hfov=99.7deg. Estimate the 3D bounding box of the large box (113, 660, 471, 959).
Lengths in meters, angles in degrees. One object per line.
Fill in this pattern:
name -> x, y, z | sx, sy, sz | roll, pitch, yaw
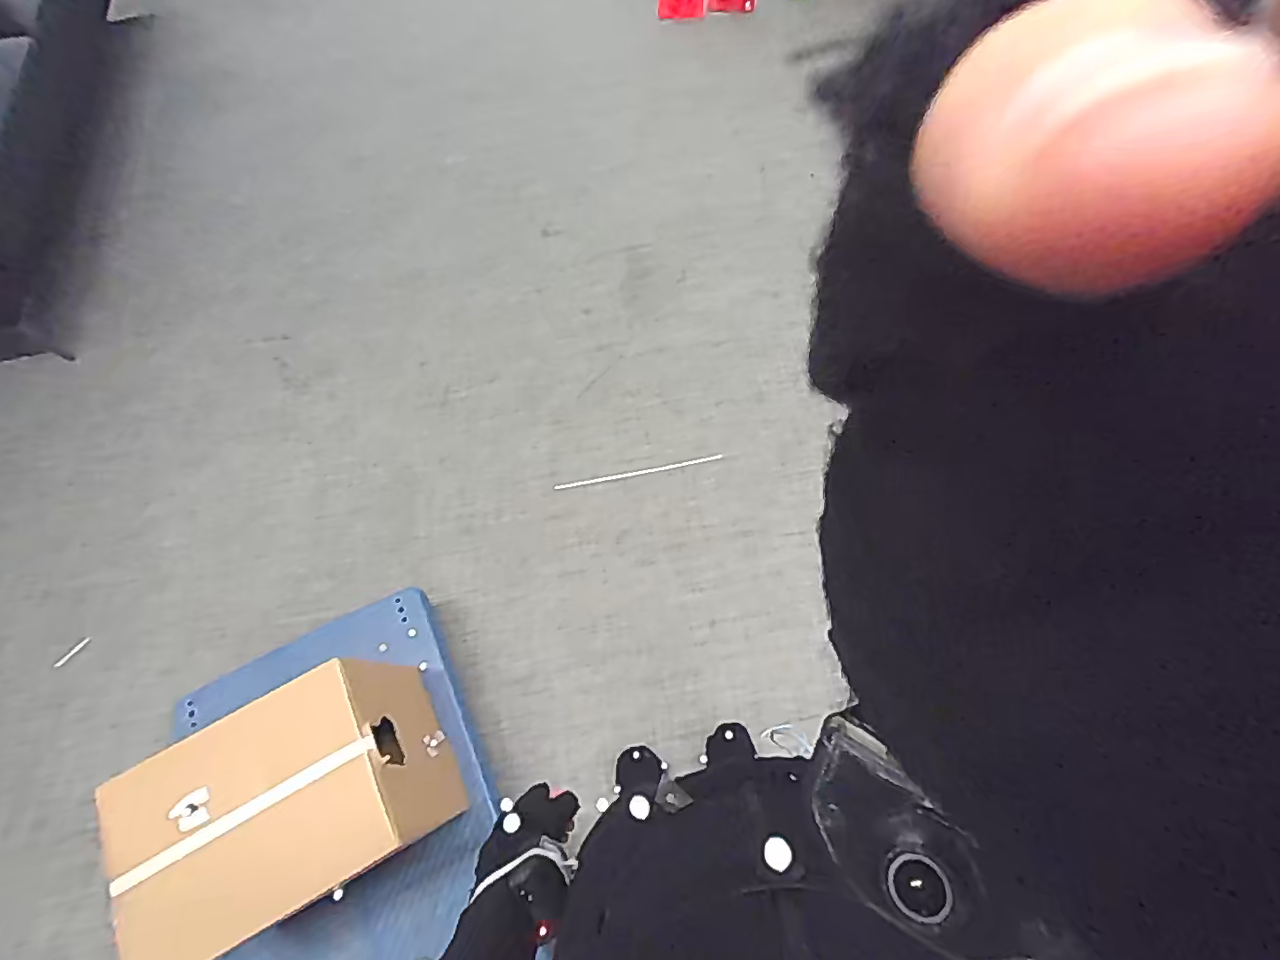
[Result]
large box -> -0.590, 0.573, 0.978 | 0.408, 0.320, 0.320 | -29, 68, -7
